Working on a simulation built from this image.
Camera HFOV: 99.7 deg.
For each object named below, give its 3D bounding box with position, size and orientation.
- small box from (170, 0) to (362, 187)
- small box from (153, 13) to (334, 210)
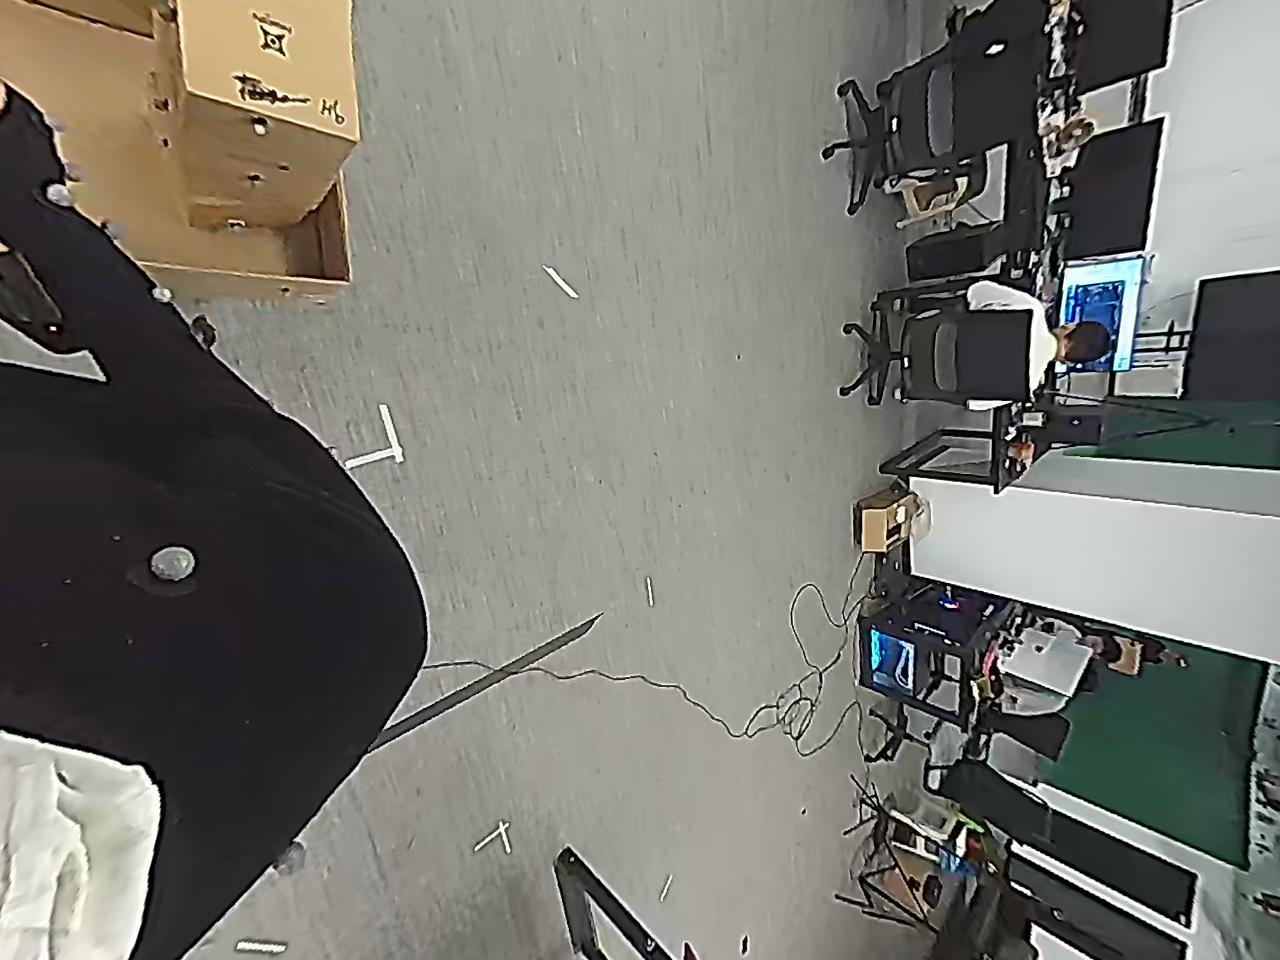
[{"bbox_3d":[-0.447,-0.486,0.647,0.168,0.176,0.179,-6,99,-40],"label":"small box"},{"bbox_3d":[-0.557,-0.499,0.769,0.179,0.176,0.168,-14,105,-39],"label":"small box"}]
